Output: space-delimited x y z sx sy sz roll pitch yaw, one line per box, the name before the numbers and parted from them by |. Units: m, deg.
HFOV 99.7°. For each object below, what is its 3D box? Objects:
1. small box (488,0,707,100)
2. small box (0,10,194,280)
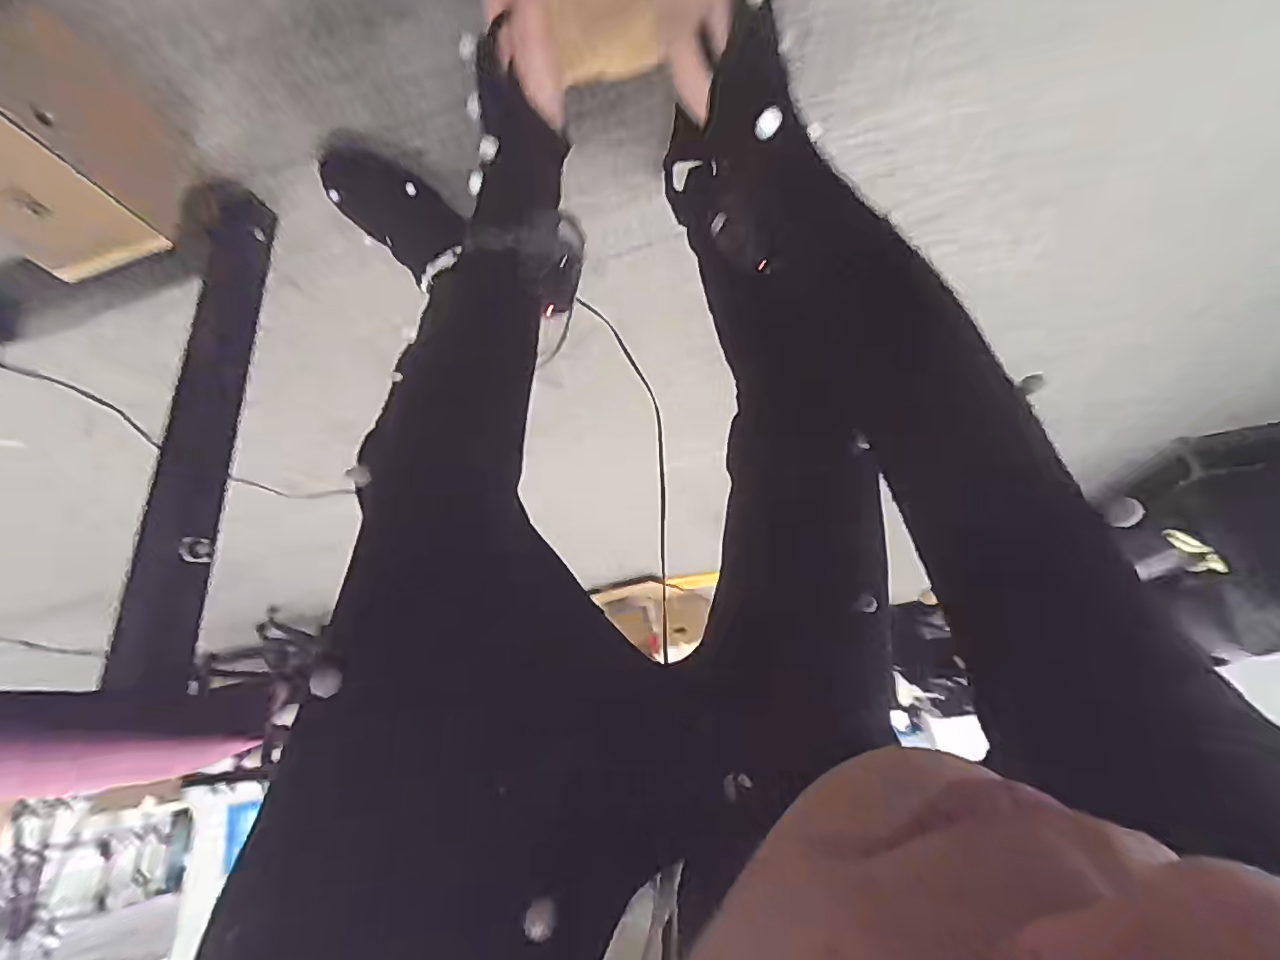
small box | -0.042 -0.452 0.421 0.168 0.176 0.179 -8 155 9
small box | -0.664 -0.368 0.614 0.168 0.176 0.179 -13 154 10
